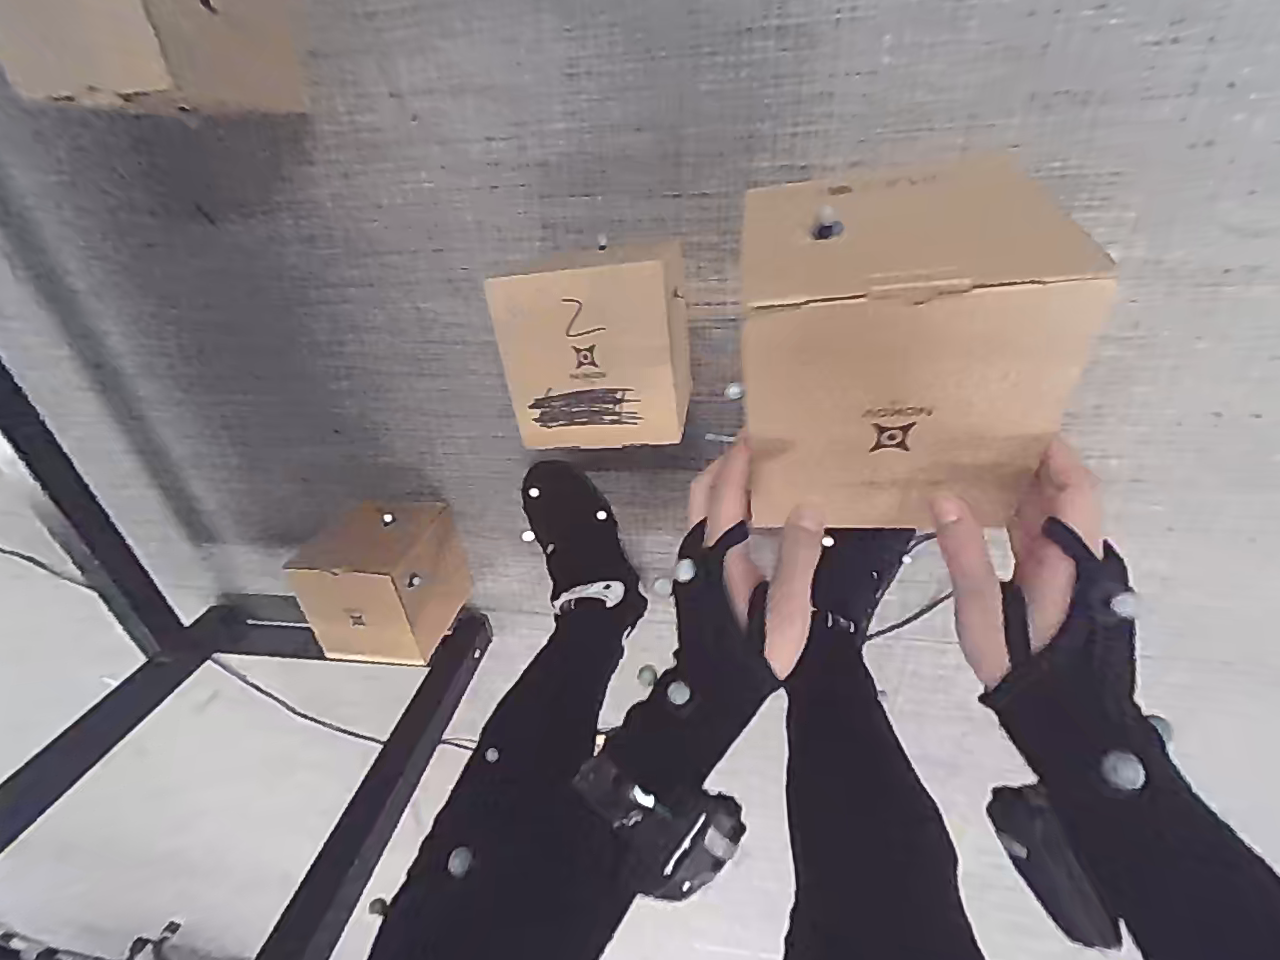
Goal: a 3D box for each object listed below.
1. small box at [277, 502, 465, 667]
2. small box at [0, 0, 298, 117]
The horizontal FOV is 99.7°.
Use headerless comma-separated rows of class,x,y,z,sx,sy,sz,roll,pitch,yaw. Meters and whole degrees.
small box,-0.387,0.152,0.817,0.168,0.176,0.179,0,120,10
small box,-0.454,-0.435,0.486,0.168,0.176,0.179,3,121,9
